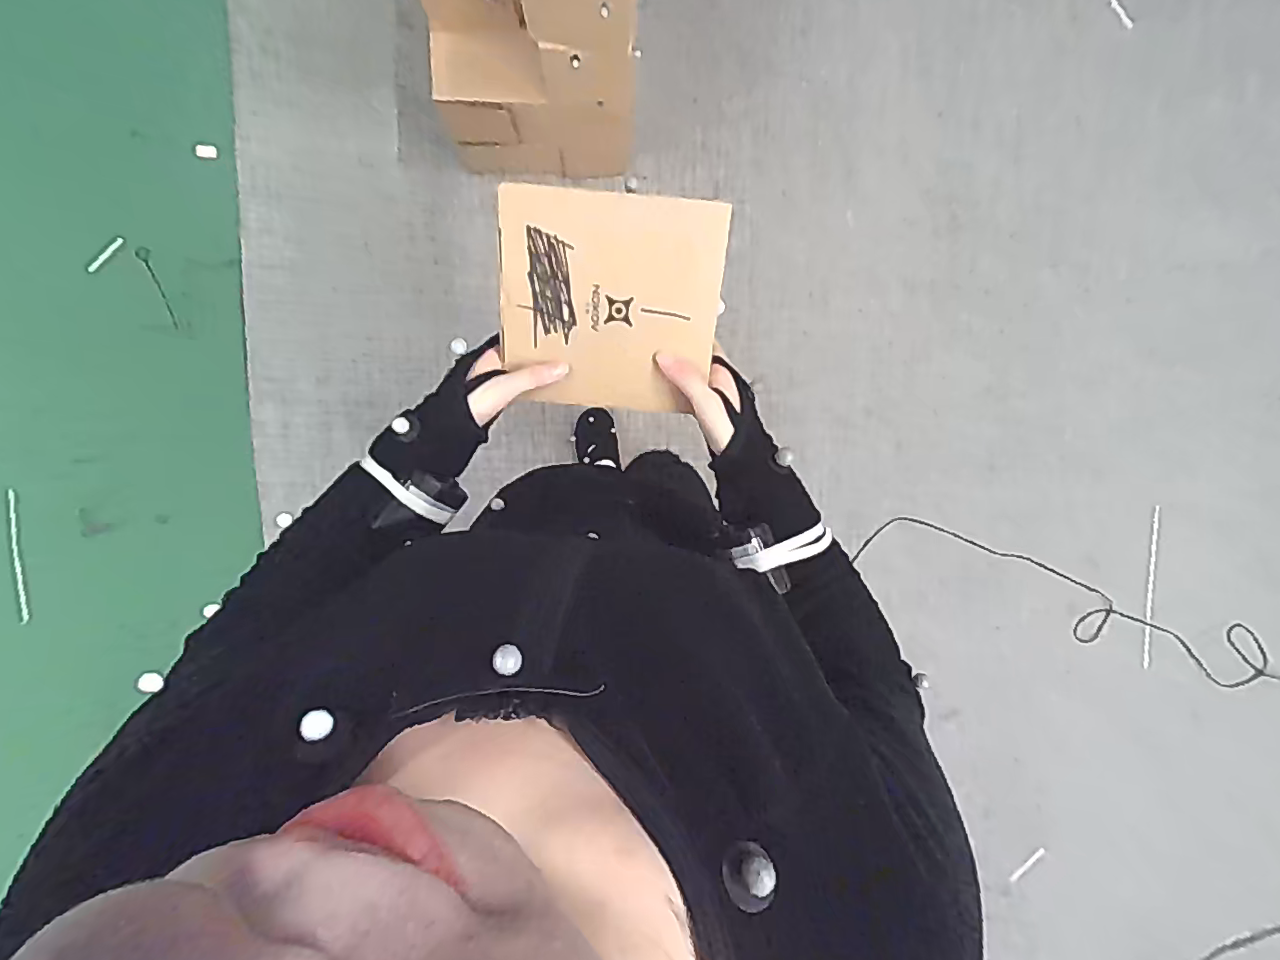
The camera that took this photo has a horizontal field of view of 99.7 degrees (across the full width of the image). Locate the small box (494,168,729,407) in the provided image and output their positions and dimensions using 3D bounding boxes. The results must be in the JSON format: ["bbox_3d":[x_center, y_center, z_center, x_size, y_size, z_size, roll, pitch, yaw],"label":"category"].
[{"bbox_3d":[-0.025,-0.179,0.501,0.179,0.176,0.168,6,116,-1],"label":"small box"}]

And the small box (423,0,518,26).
[{"bbox_3d":[-0.326,-0.984,0.997,0.179,0.176,0.168,-2,93,-1],"label":"small box"}]

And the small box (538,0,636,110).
[{"bbox_3d":[-0.094,-0.841,1.013,0.168,0.176,0.179,4,94,-3],"label":"small box"}]
